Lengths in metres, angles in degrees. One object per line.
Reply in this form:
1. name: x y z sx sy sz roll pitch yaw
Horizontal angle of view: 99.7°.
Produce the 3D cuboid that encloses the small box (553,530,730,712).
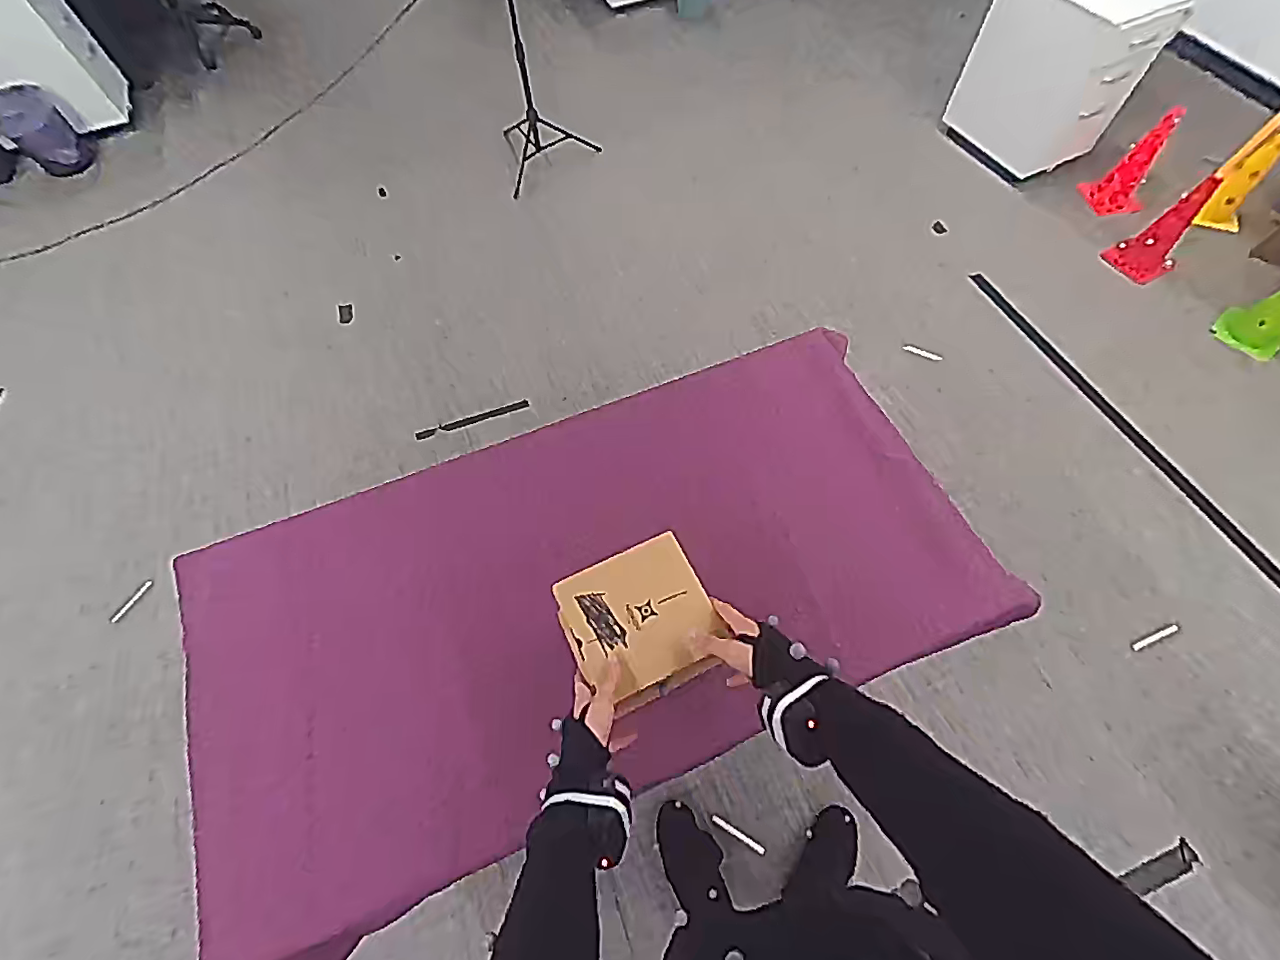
1. small box: 0.004 0.200 0.741 0.179 0.176 0.168 -25 65 -9
